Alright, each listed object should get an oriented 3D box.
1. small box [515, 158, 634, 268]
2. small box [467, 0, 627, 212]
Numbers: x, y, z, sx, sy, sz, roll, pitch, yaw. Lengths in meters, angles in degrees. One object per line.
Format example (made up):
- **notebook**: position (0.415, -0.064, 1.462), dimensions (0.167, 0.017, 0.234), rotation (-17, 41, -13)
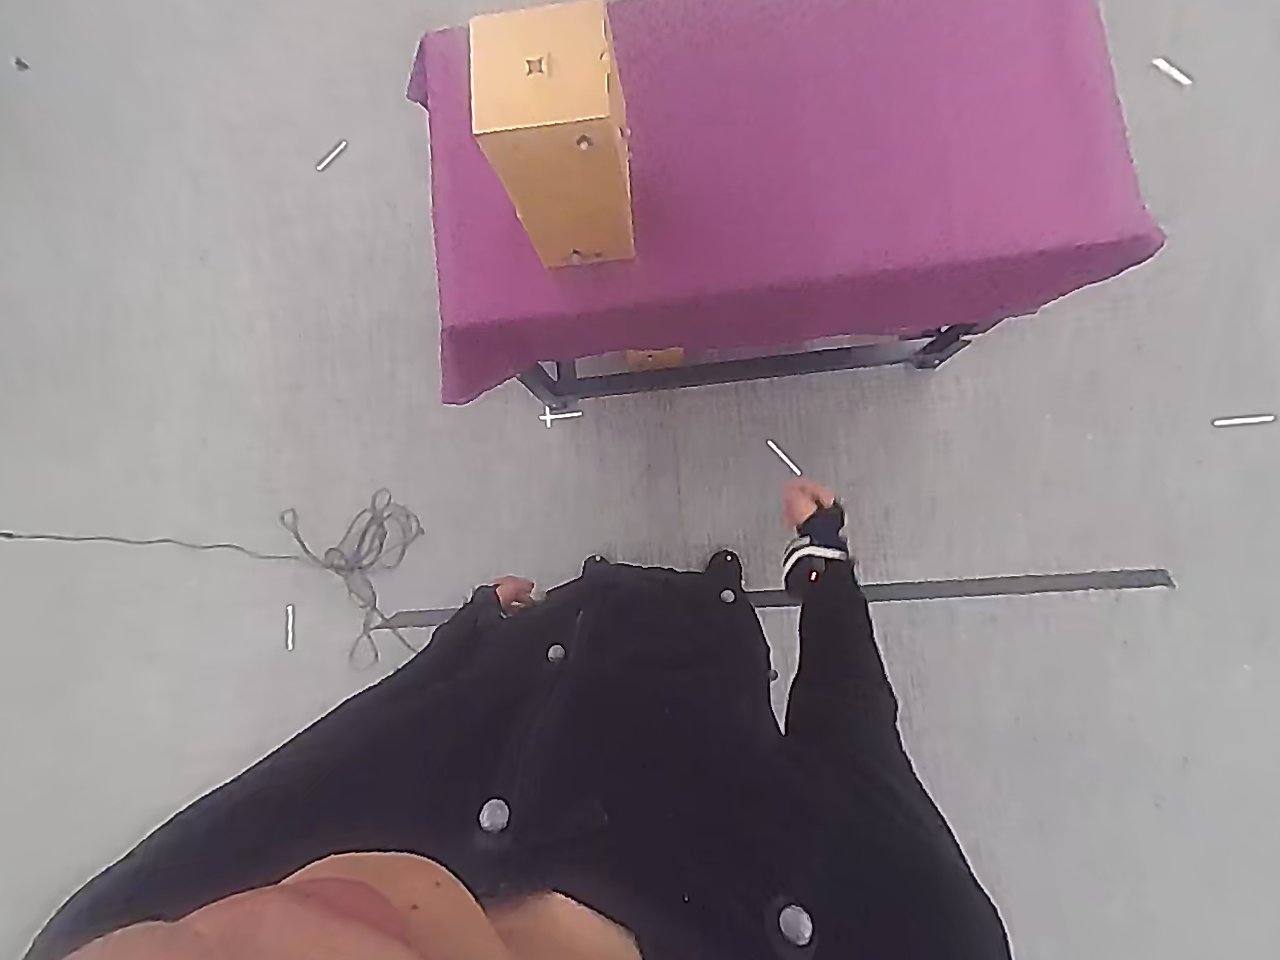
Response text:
- **small box**: position (-0.104, -0.480, 0.899), dimensions (0.168, 0.176, 0.179), rotation (-5, 84, 6)
- **small box**: position (-0.118, -0.492, 0.738), dimensions (0.179, 0.176, 0.168), rotation (-4, 84, 6)
